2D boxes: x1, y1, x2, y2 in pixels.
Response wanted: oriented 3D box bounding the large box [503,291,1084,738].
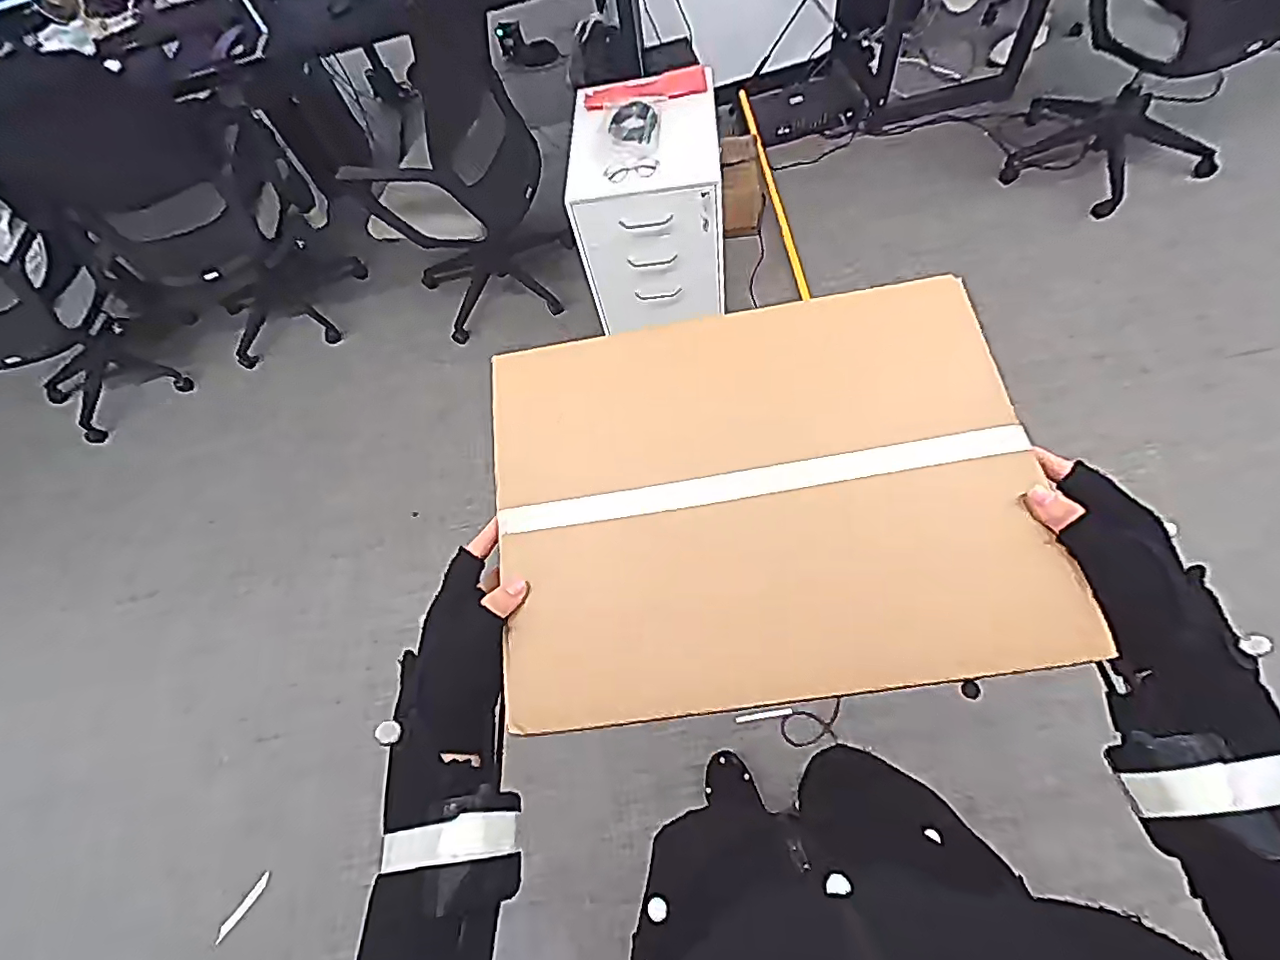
[{"bbox_3d":[0.109,0.059,0.570,0.408,0.320,0.320,-10,69,4],"label":"large box"}]
